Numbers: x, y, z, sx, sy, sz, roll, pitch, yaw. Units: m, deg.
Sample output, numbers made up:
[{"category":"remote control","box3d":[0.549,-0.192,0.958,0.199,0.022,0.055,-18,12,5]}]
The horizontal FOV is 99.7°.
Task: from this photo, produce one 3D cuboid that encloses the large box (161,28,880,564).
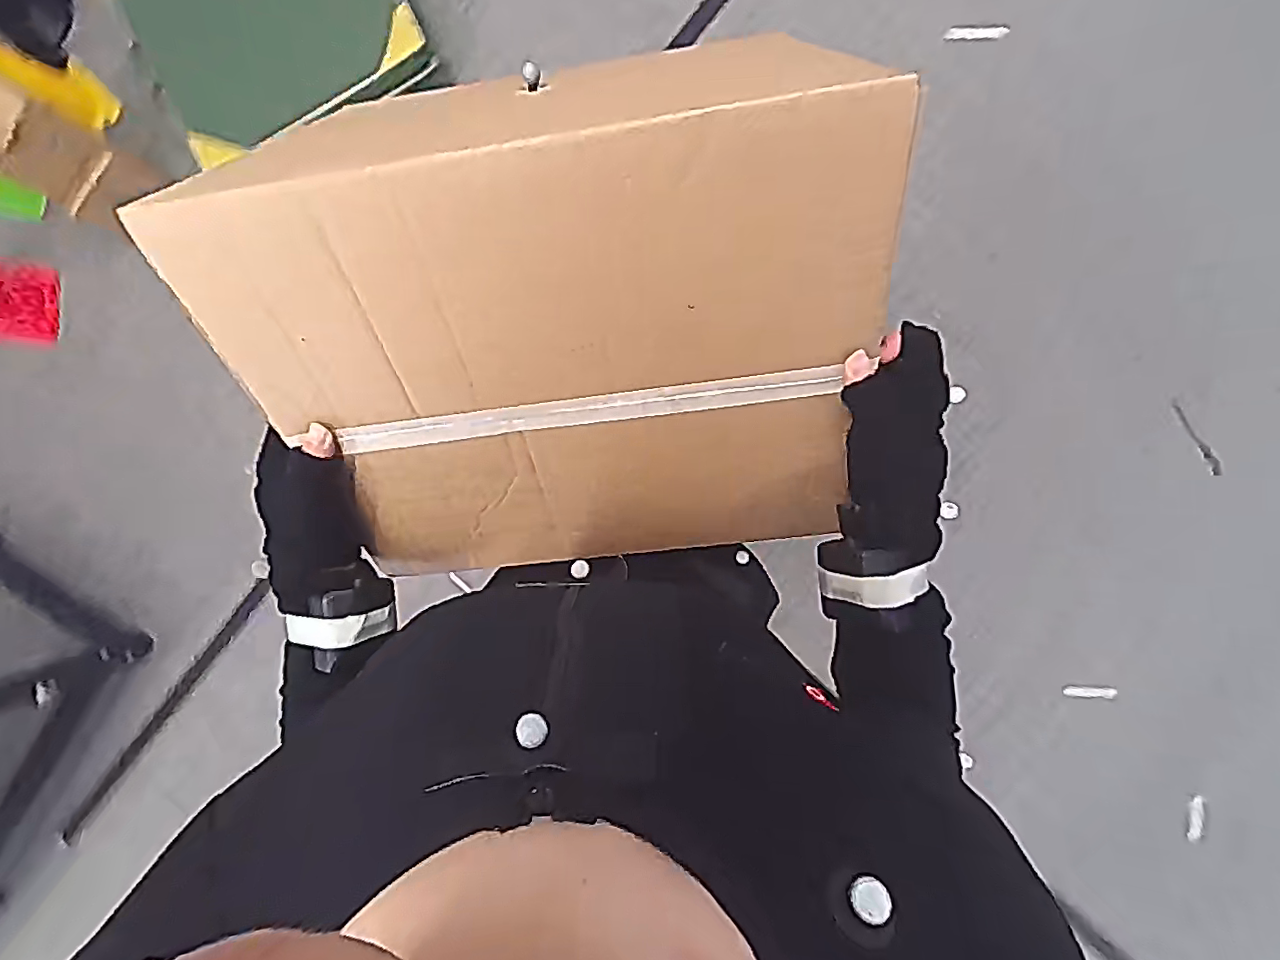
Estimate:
[{"category":"large box","box3d":[-0.053,-0.159,0.490,0.408,0.320,0.320,-8,133,5]}]
